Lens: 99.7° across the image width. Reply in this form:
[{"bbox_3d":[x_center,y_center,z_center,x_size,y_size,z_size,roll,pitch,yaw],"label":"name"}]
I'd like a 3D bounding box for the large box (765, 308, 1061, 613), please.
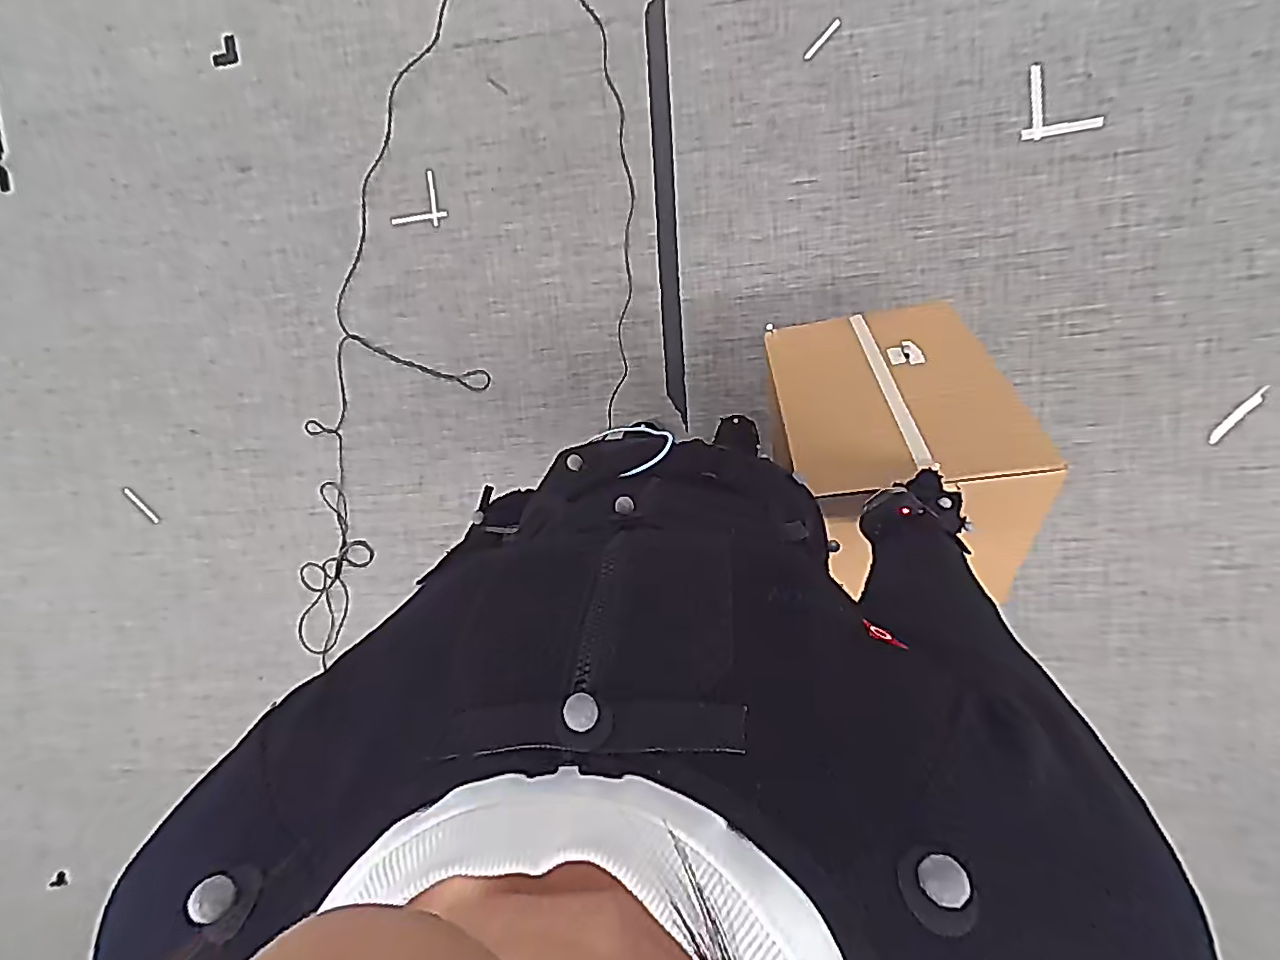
[{"bbox_3d":[0.407,-0.034,0.928,0.320,0.408,0.320,-7,135,9],"label":"large box"}]
